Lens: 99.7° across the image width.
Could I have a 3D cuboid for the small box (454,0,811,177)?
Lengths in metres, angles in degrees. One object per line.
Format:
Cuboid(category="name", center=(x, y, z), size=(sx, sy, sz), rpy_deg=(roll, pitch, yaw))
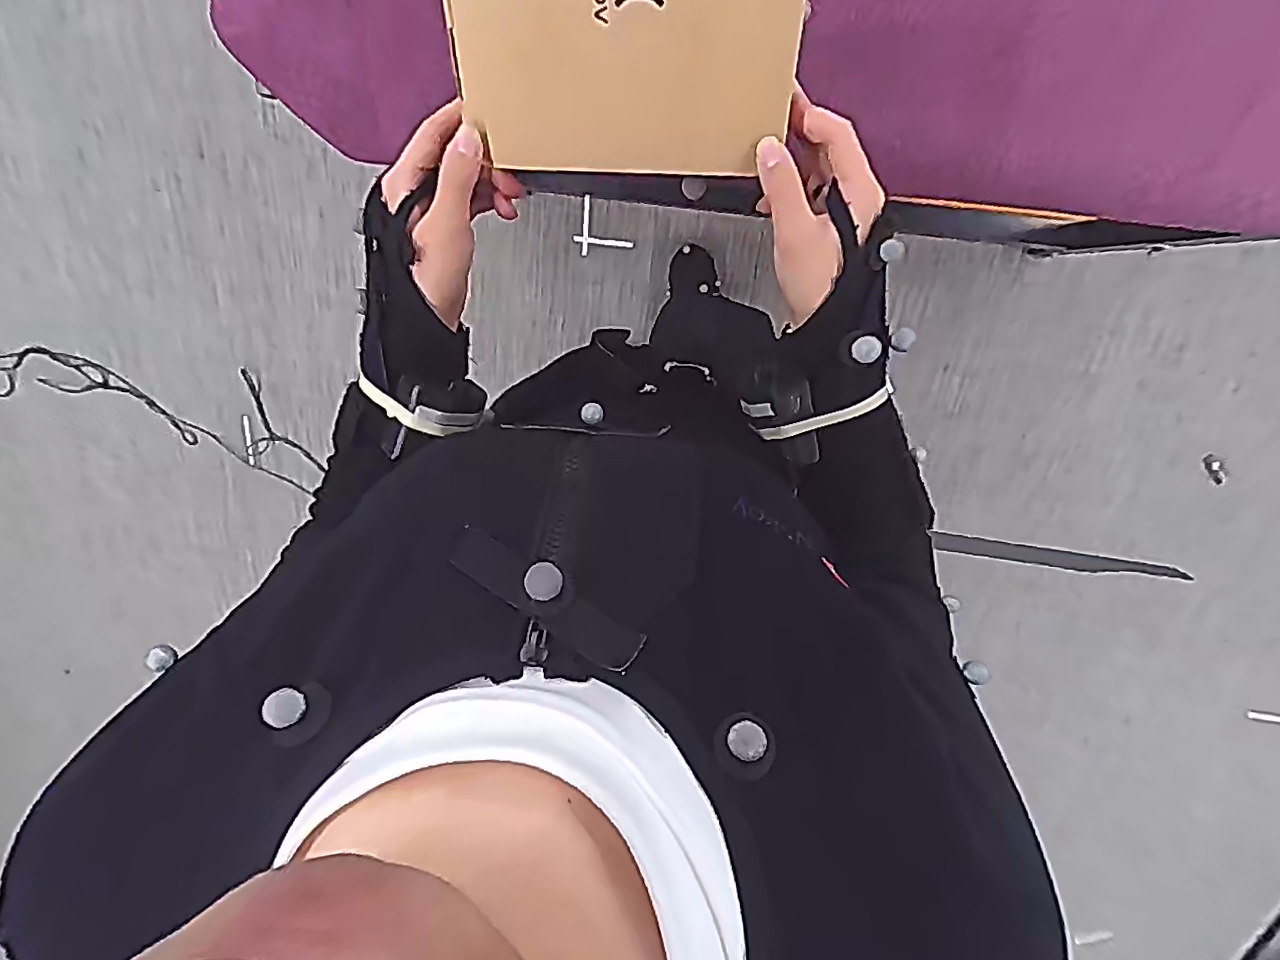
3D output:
Cuboid(category="small box", center=(0.001, -0.286, 0.318), size=(0.179, 0.176, 0.168), rpy_deg=(4, 125, 3))
